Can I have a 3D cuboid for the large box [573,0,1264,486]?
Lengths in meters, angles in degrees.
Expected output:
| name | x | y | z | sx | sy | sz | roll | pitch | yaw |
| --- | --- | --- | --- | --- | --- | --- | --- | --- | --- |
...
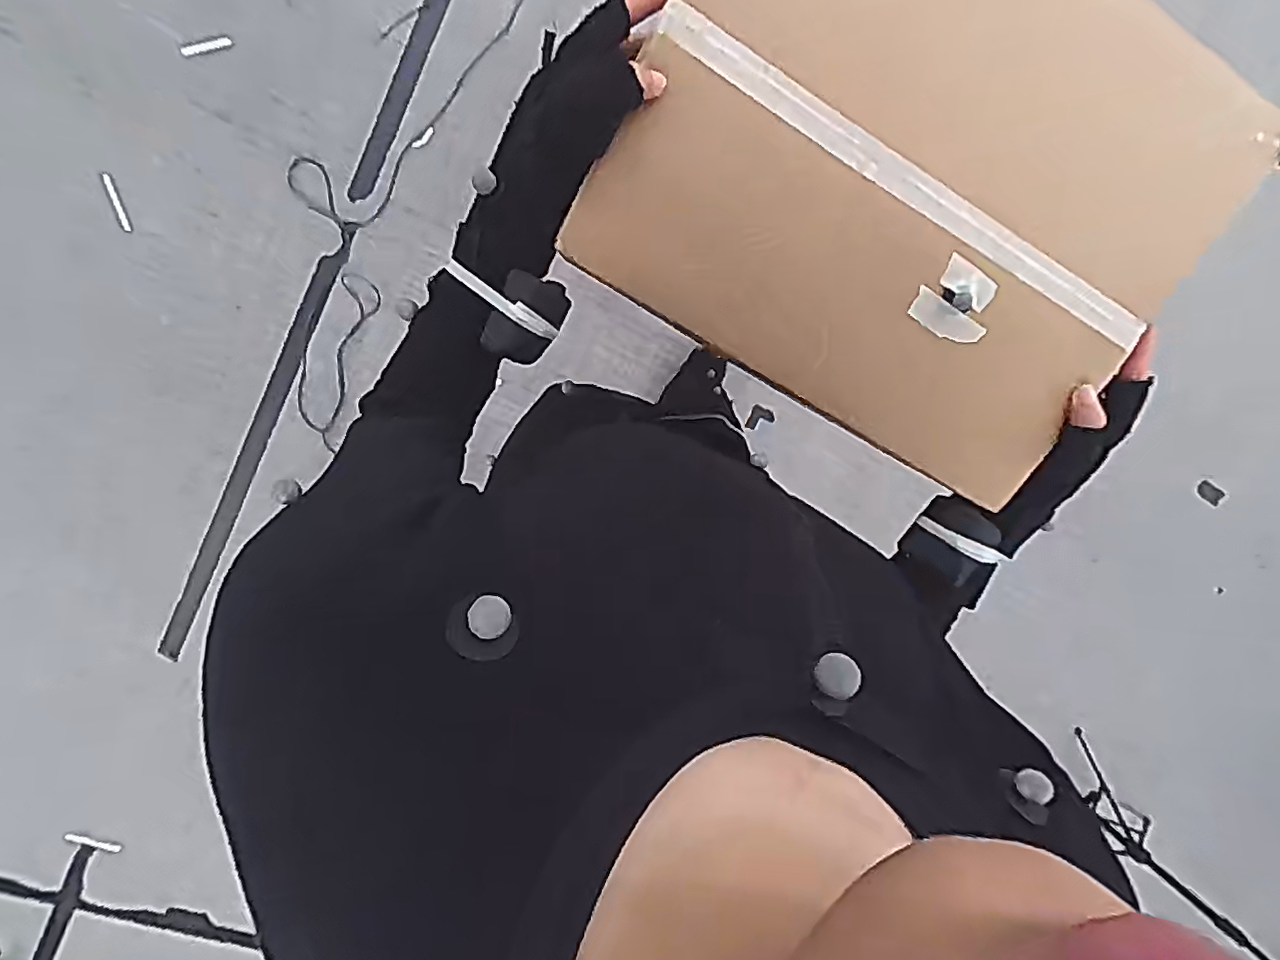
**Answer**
| name | x | y | z | sx | sy | sz | roll | pitch | yaw |
| --- | --- | --- | --- | --- | --- | --- | --- | --- | --- |
| large box | 0.190 | -0.254 | 0.527 | 0.408 | 0.320 | 0.320 | 29 | 106 | -10 |
